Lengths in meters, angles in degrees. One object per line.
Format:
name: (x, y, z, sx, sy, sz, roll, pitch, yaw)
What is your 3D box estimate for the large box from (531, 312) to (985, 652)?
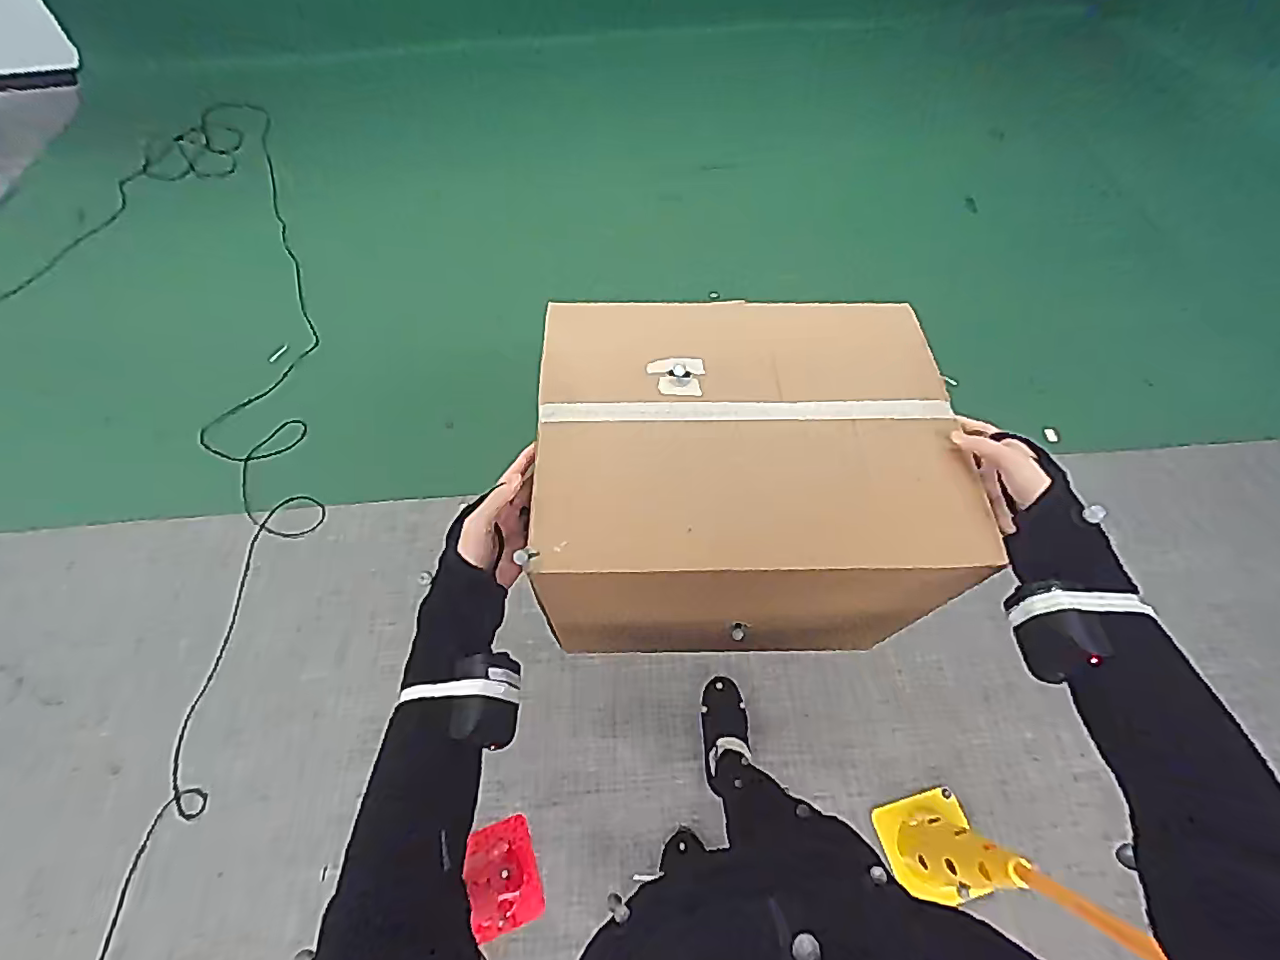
large box: (0.100, 0.021, 0.666, 0.408, 0.320, 0.320, -1, 60, -1)
